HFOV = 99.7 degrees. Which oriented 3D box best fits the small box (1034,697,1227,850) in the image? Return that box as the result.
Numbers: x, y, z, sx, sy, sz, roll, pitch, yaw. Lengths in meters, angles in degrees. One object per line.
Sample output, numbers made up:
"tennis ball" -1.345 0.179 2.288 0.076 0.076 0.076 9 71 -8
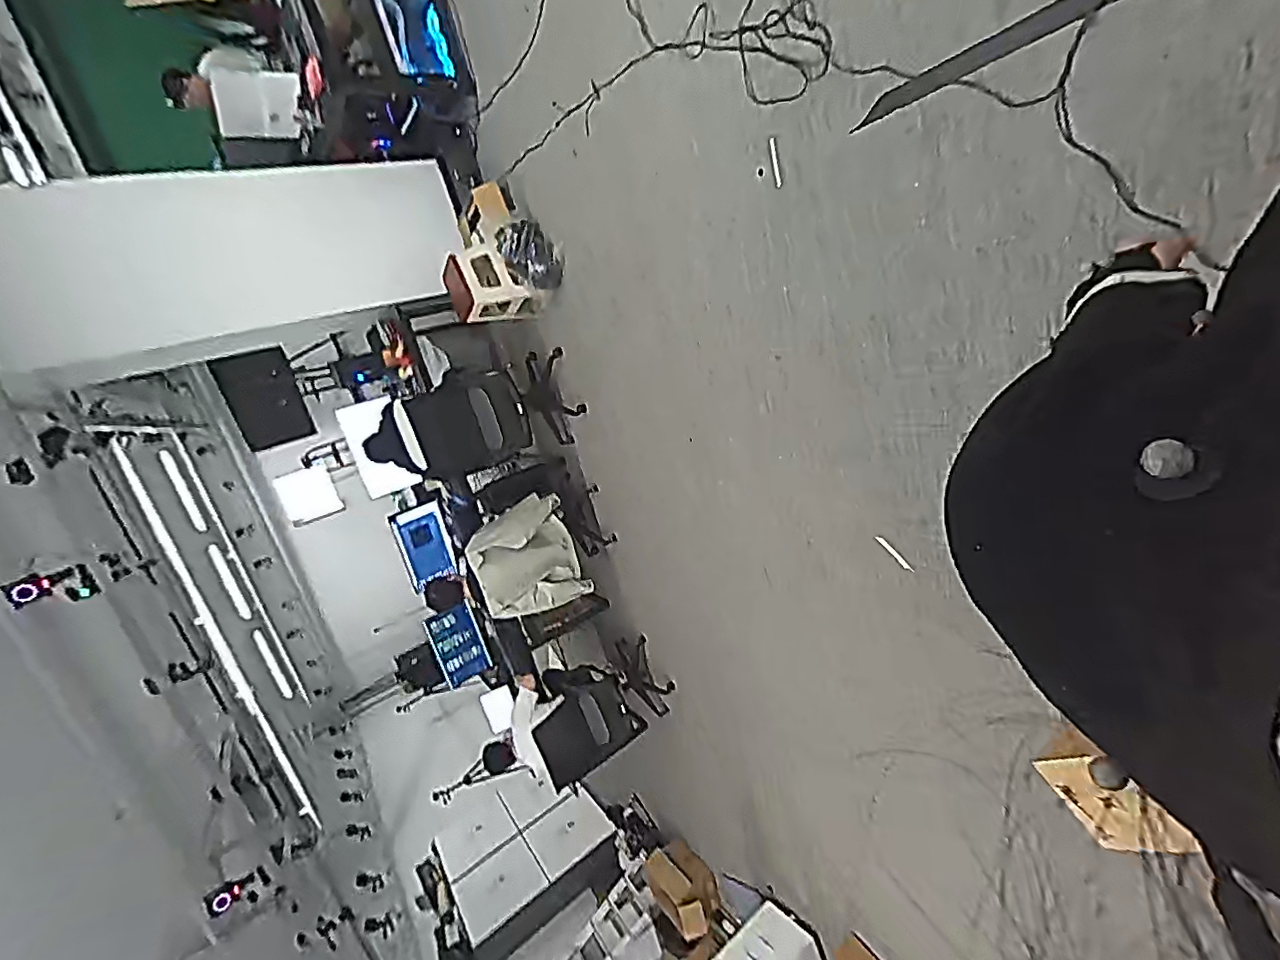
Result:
"small box" 0.849 0.502 0.937 0.168 0.176 0.179 55 148 19
